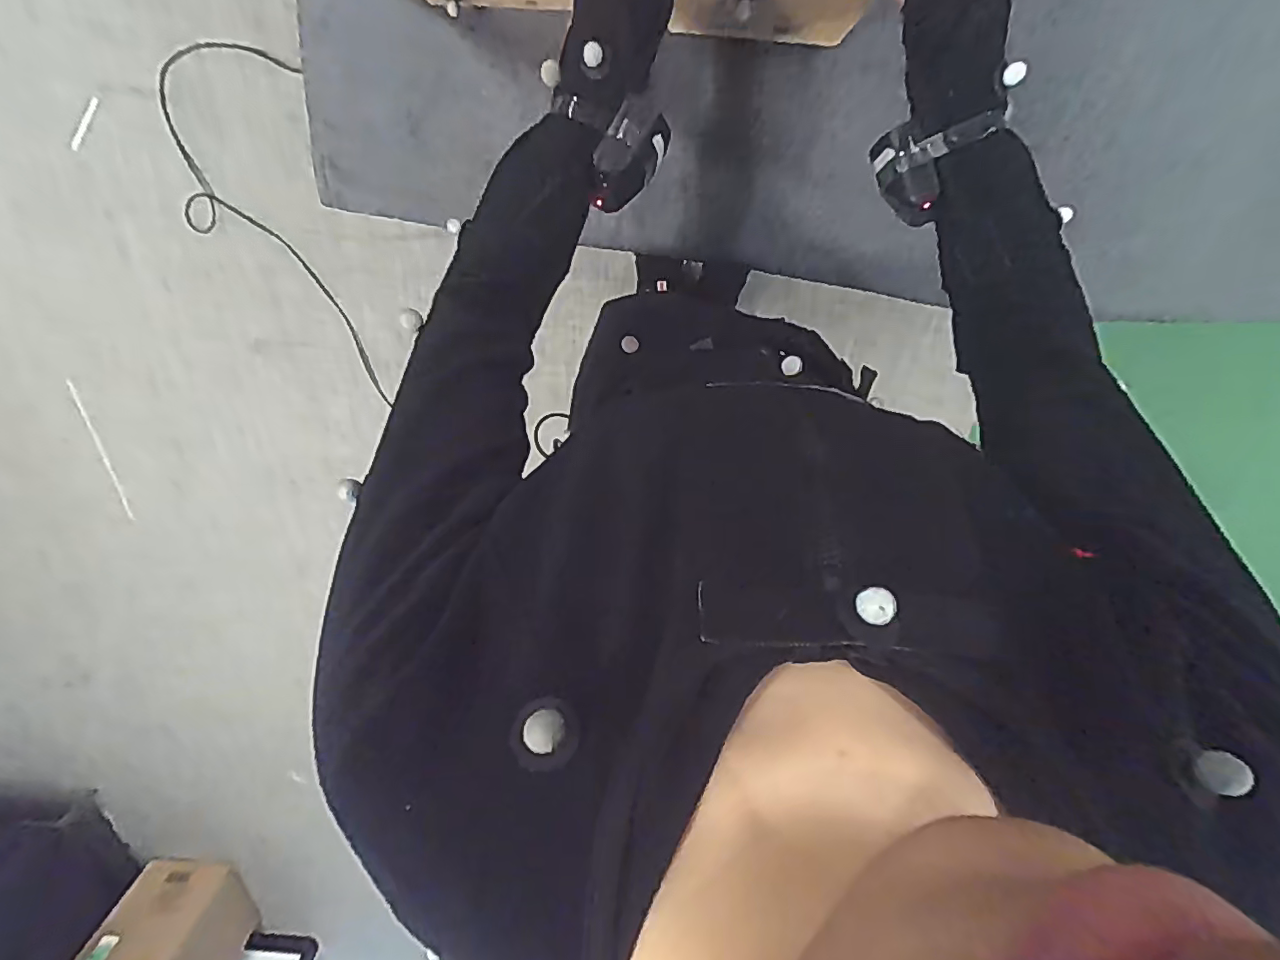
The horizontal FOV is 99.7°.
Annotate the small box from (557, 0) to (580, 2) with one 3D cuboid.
[{"bbox_3d":[-0.122,-0.496,0.406,0.168,0.176,0.179,3,117,1],"label":"small box"}]

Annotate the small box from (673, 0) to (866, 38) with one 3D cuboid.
[{"bbox_3d":[0.113,-0.466,0.405,0.168,0.176,0.179,5,114,1],"label":"small box"}]
